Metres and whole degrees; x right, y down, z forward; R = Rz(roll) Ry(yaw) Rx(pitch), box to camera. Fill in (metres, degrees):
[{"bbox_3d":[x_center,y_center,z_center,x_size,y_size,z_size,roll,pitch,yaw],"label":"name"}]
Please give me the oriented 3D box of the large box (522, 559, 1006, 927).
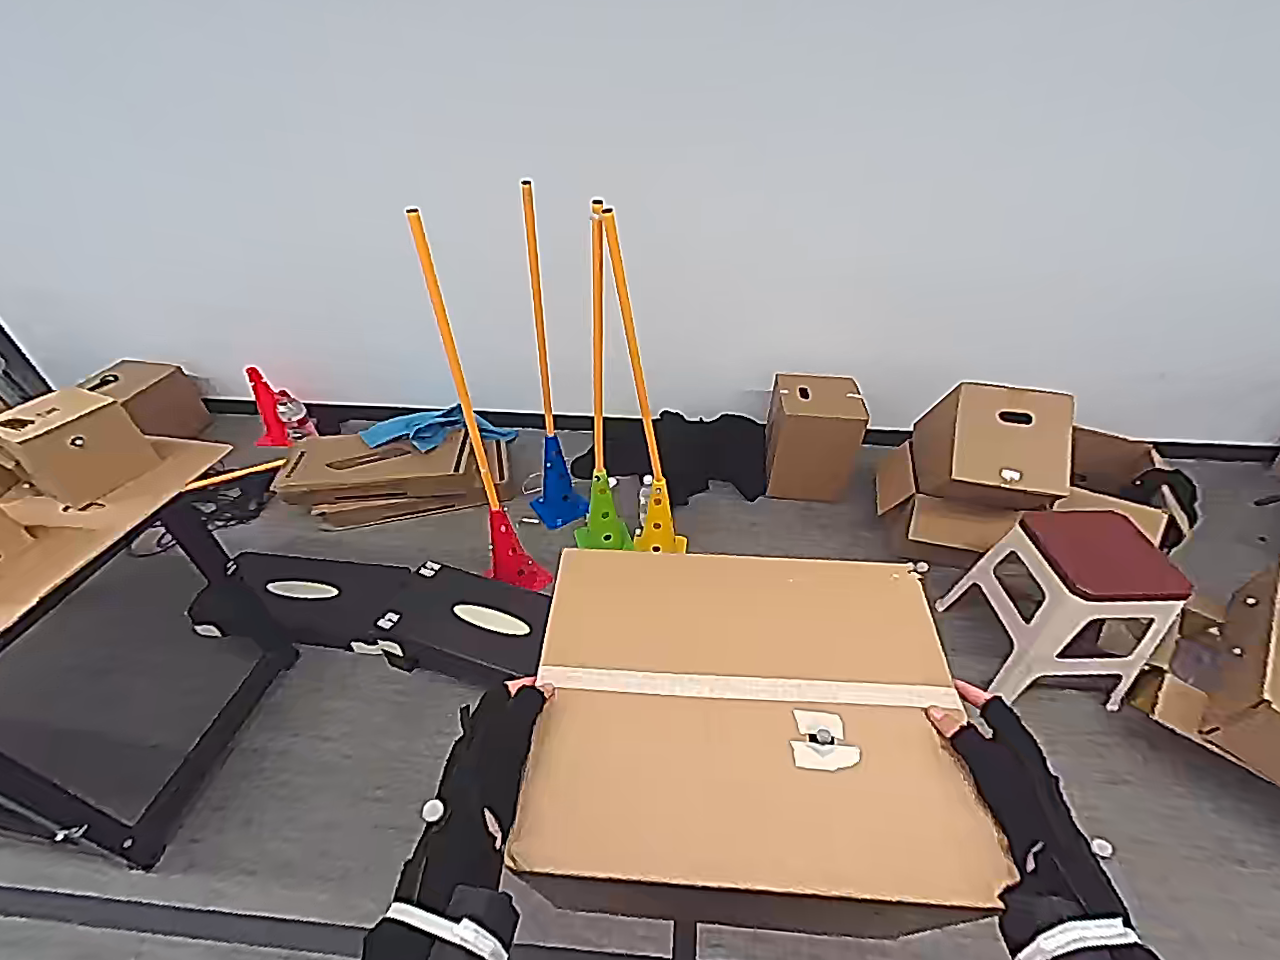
[{"bbox_3d":[0.106,0.314,0.648,0.408,0.320,0.320,2,48,3],"label":"large box"}]
